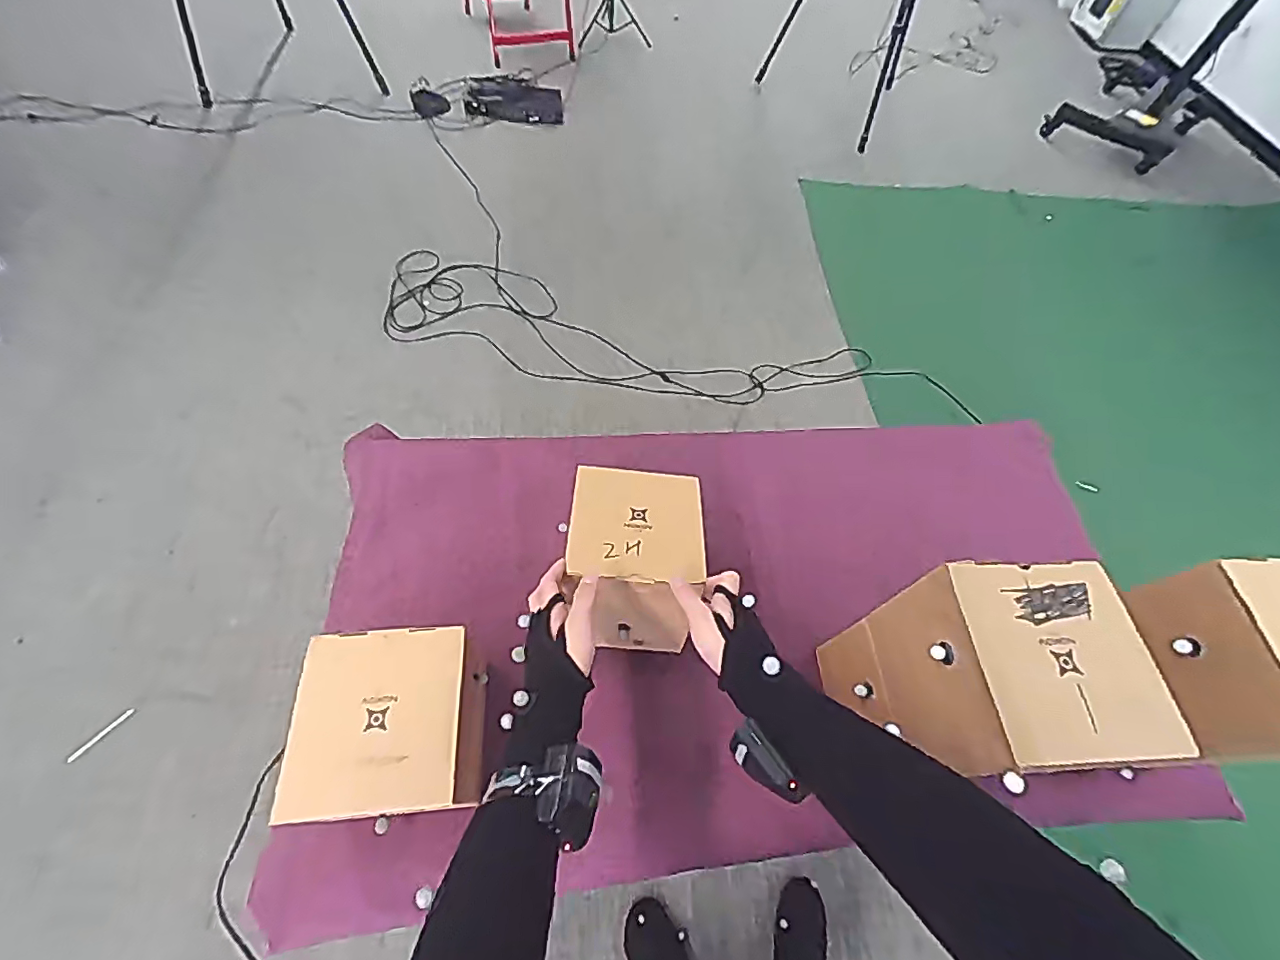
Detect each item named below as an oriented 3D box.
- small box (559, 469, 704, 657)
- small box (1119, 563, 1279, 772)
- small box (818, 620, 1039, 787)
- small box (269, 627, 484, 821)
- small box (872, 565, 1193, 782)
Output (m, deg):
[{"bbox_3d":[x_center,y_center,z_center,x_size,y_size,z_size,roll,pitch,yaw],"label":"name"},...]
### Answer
[{"bbox_3d":[-0.015,0.111,0.723,0.168,0.176,0.179,6,46,-4],"label":"small box"},{"bbox_3d":[0.644,0.202,0.569,0.168,0.176,0.179,2,58,-4],"label":"small box"},{"bbox_3d":[0.347,0.286,0.684,0.168,0.176,0.179,0,58,-6],"label":"small box"},{"bbox_3d":[-0.276,0.282,0.618,0.168,0.176,0.179,-2,59,-7],"label":"small box"},{"bbox_3d":[0.362,0.199,0.546,0.168,0.176,0.179,1,59,-5],"label":"small box"}]
